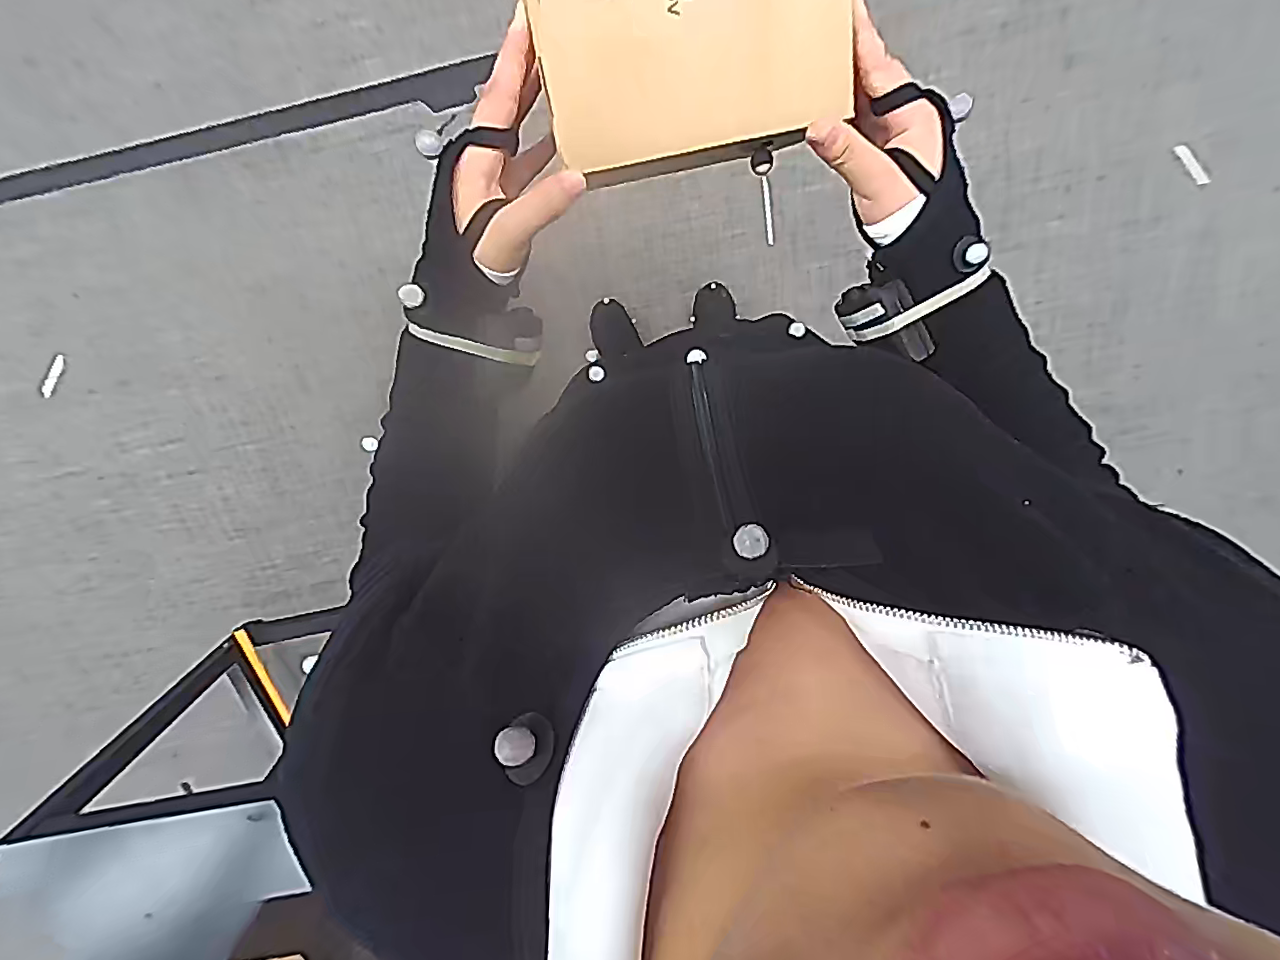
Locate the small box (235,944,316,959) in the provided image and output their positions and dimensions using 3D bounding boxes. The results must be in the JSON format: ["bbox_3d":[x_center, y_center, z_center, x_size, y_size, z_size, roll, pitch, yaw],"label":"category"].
[{"bbox_3d":[-0.773,1.094,1.097,0.179,0.176,0.168,-12,112,3],"label":"small box"}]

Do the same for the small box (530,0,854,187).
[{"bbox_3d":[0.022,-0.303,0.359,0.179,0.176,0.168,-11,116,2],"label":"small box"}]
